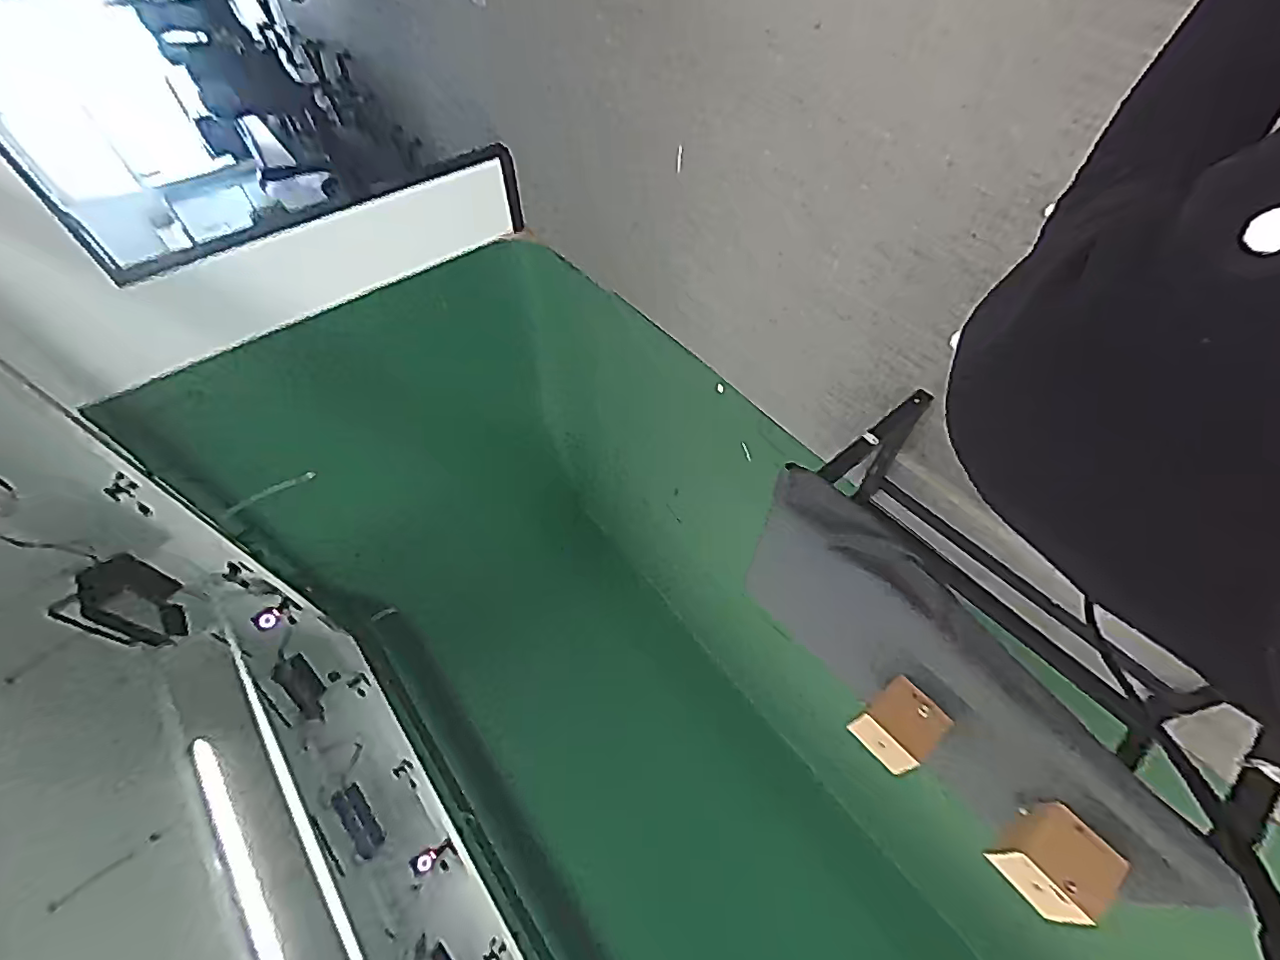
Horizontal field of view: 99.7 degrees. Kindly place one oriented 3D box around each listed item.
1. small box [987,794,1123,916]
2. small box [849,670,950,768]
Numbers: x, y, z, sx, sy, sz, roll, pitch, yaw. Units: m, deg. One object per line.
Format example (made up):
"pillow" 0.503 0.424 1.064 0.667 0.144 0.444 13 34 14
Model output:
"small box" 0.987 0.886 1.289 0.168 0.176 0.179 43 156 27
"small box" 0.730 0.672 1.524 0.168 0.176 0.179 42 154 27
